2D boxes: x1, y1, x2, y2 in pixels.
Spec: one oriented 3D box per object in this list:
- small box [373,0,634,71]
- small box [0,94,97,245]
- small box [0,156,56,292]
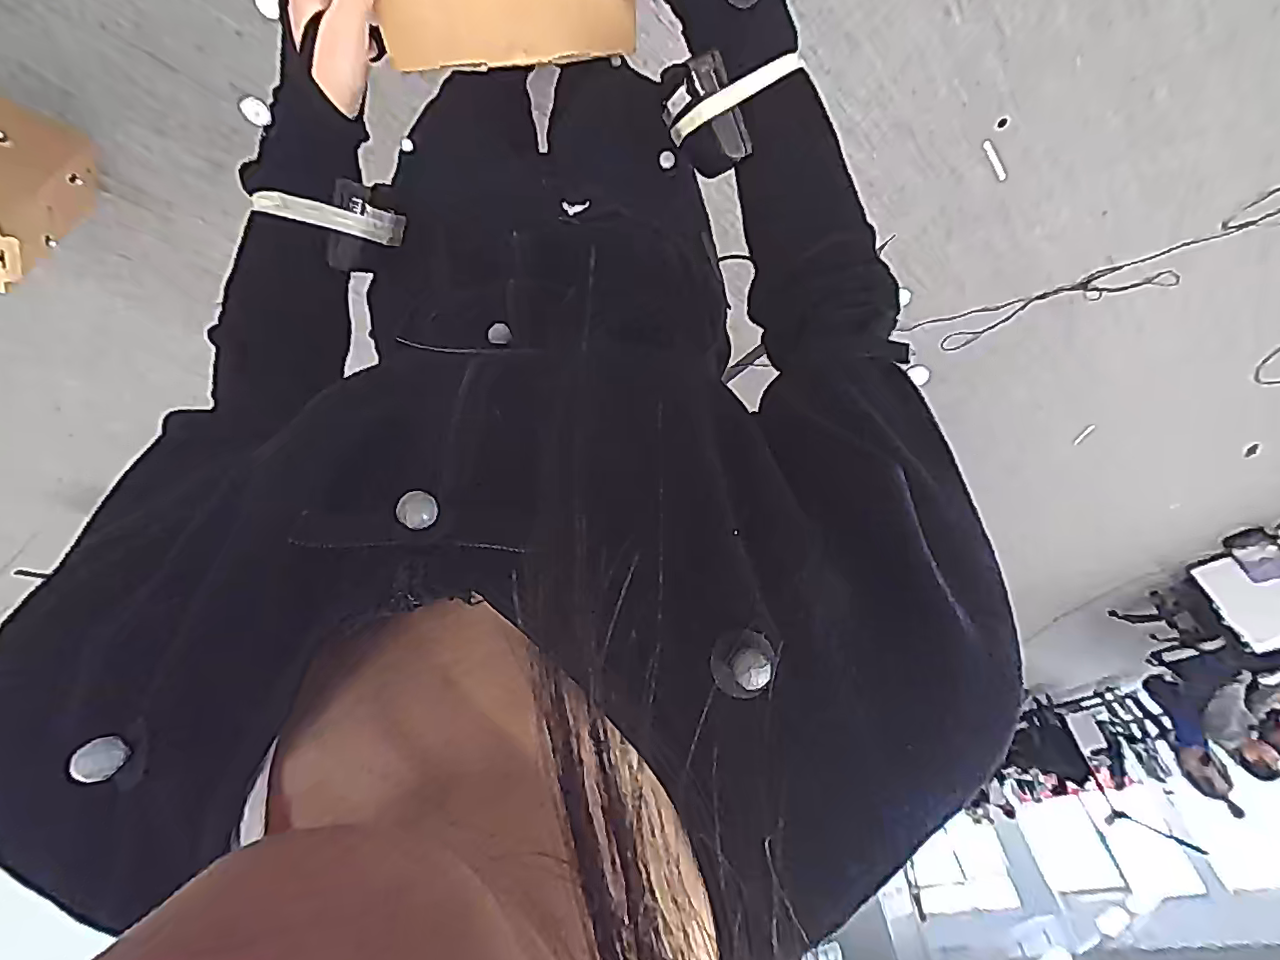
[{"bbox_3d":[-0.099,-0.399,0.338,0.168,0.176,0.179,-9,149,-5],"label":"small box"},{"bbox_3d":[-1.192,-0.600,1.037,0.179,0.176,0.168,21,134,-32],"label":"small box"},{"bbox_3d":[-1.167,-0.472,0.936,0.179,0.176,0.168,21,134,-33],"label":"small box"}]
